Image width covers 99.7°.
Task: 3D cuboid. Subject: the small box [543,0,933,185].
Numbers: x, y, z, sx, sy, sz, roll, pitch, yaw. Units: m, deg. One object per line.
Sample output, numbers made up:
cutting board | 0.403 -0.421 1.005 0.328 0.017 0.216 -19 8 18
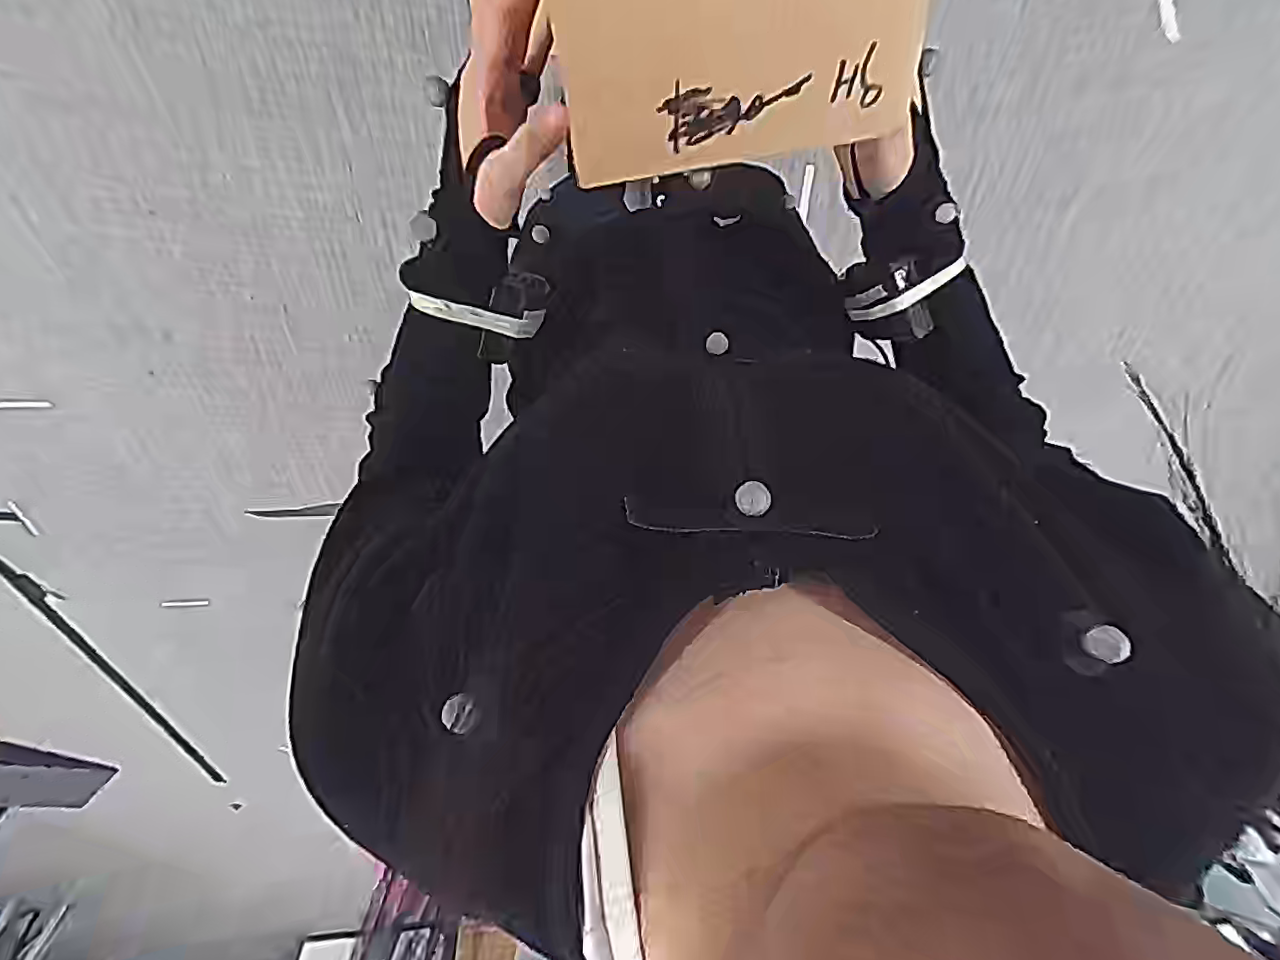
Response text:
small box | 0.032 -0.272 0.264 0.168 0.176 0.179 -8 134 2

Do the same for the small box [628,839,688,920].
small box | 0.052 1.271 1.724 0.168 0.176 0.179 0 127 -6

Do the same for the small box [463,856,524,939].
small box | -0.453 1.305 1.692 0.168 0.176 0.179 2 128 -9
